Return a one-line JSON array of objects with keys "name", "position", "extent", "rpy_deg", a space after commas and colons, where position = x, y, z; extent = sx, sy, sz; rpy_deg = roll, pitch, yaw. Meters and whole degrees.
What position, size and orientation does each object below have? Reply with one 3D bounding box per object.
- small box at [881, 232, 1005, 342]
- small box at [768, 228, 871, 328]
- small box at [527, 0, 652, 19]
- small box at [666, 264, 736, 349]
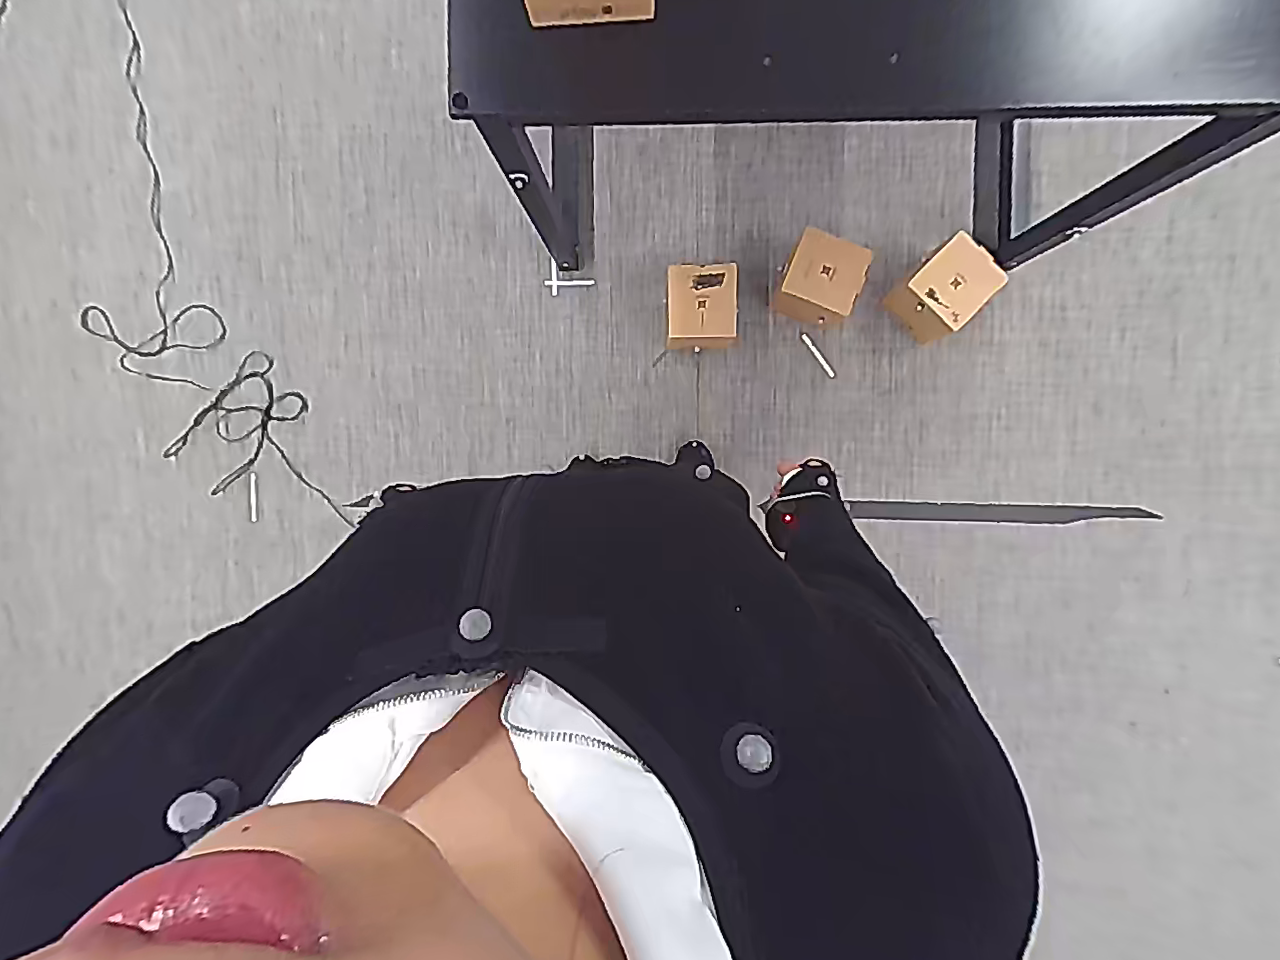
[{"name": "small box", "position": [0.746, -0.473, 1.353], "extent": [0.168, 0.176, 0.179], "rpy_deg": [44, 94, 0]}, {"name": "small box", "position": [0.444, -0.499, 1.367], "extent": [0.179, 0.176, 0.168], "rpy_deg": [22, 93, 2]}, {"name": "small box", "position": [-0.070, -0.692, 0.641], "extent": [0.168, 0.176, 0.179], "rpy_deg": [-2, 93, 2]}, {"name": "small box", "position": [0.150, -0.436, 1.381], "extent": [0.168, 0.176, 0.179], "rpy_deg": [0, 95, 3]}]
